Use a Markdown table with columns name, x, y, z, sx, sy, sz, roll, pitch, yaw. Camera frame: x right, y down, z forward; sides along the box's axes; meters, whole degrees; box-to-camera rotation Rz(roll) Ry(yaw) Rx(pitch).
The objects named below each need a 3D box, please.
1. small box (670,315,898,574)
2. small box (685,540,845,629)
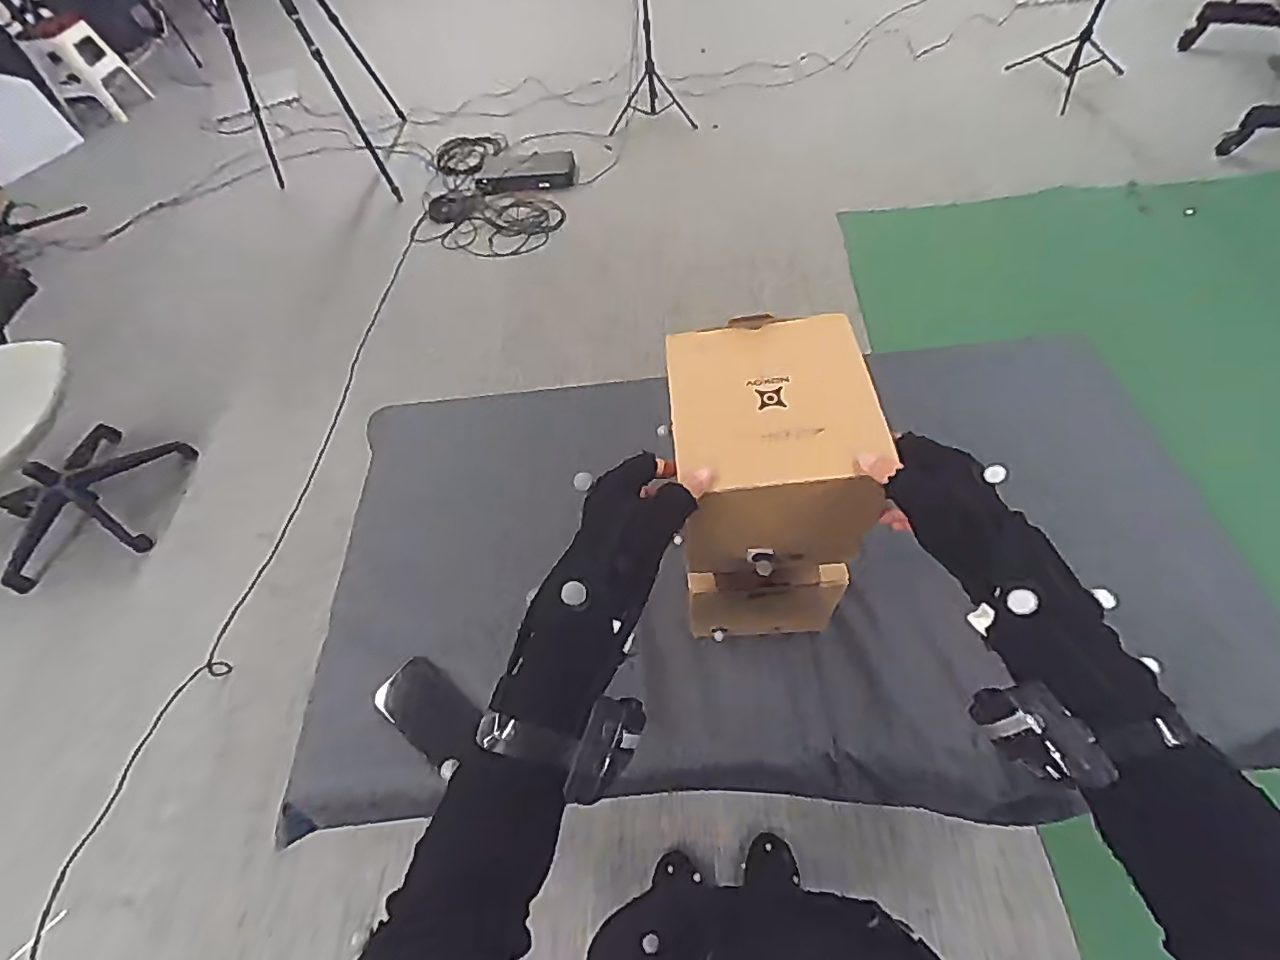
| name | x | y | z | sx | sy | sz | roll | pitch | yaw |
| --- | --- | --- | --- | --- | --- | --- | --- | --- | --- |
| small box | 0.117 | -0.027 | 0.514 | 0.168 | 0.176 | 0.179 | -5 | 58 | 6 |
| small box | 0.141 | 0.080 | 0.673 | 0.168 | 0.176 | 0.179 | -4 | 57 | 5 |
